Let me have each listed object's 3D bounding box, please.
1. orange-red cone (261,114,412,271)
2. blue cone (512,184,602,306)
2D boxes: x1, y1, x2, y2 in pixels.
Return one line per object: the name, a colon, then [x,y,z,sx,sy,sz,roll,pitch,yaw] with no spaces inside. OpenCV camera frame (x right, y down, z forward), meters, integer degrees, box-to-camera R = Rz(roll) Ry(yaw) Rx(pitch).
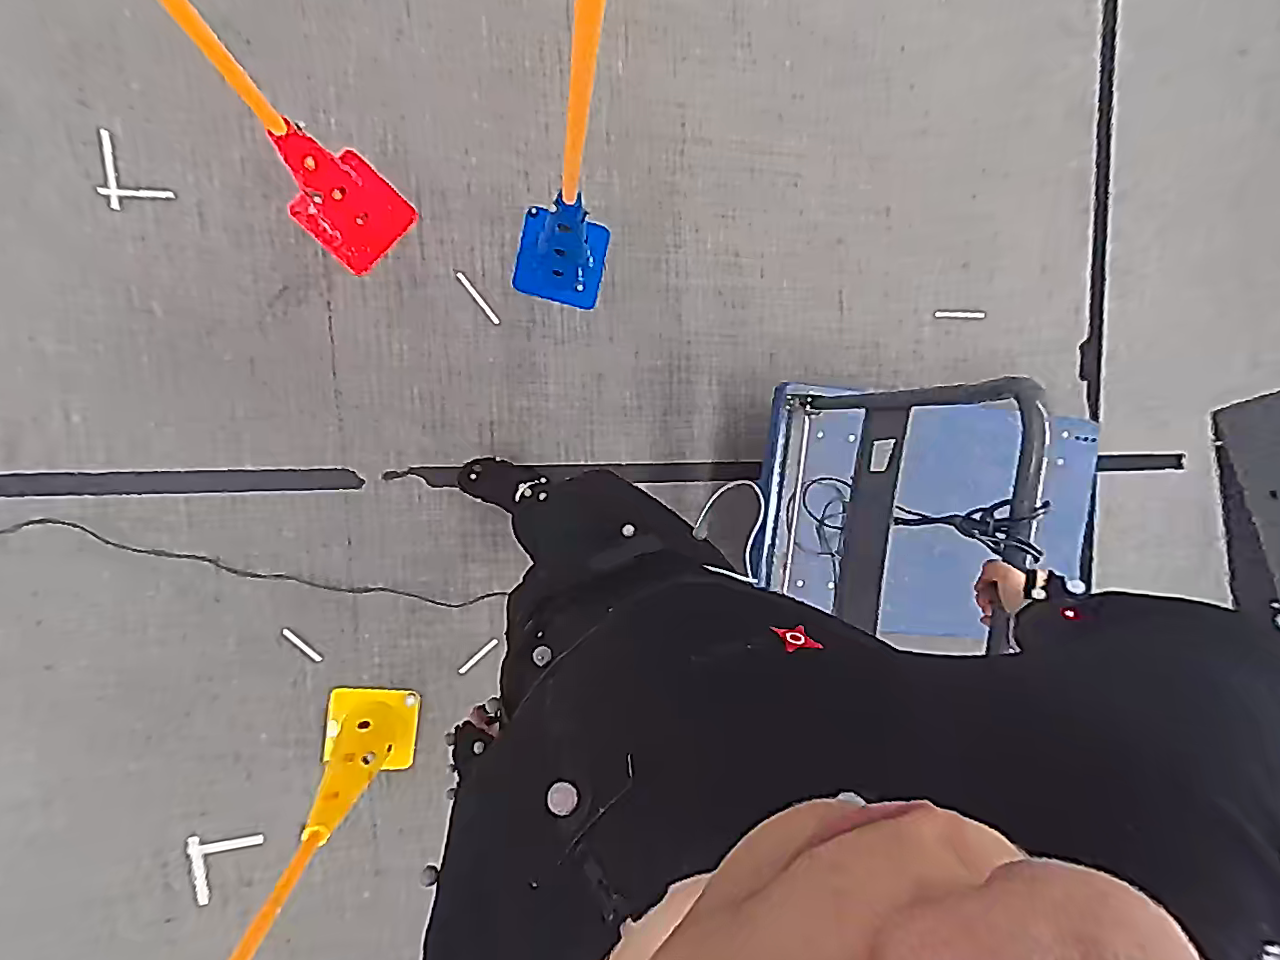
orange-red cone: [-0.593,-0.562,1.000,0.199,0.360,0.198,44,87,-12]
blue cone: [-0.165,-0.499,1.098,0.192,0.380,0.193,13,93,-10]
